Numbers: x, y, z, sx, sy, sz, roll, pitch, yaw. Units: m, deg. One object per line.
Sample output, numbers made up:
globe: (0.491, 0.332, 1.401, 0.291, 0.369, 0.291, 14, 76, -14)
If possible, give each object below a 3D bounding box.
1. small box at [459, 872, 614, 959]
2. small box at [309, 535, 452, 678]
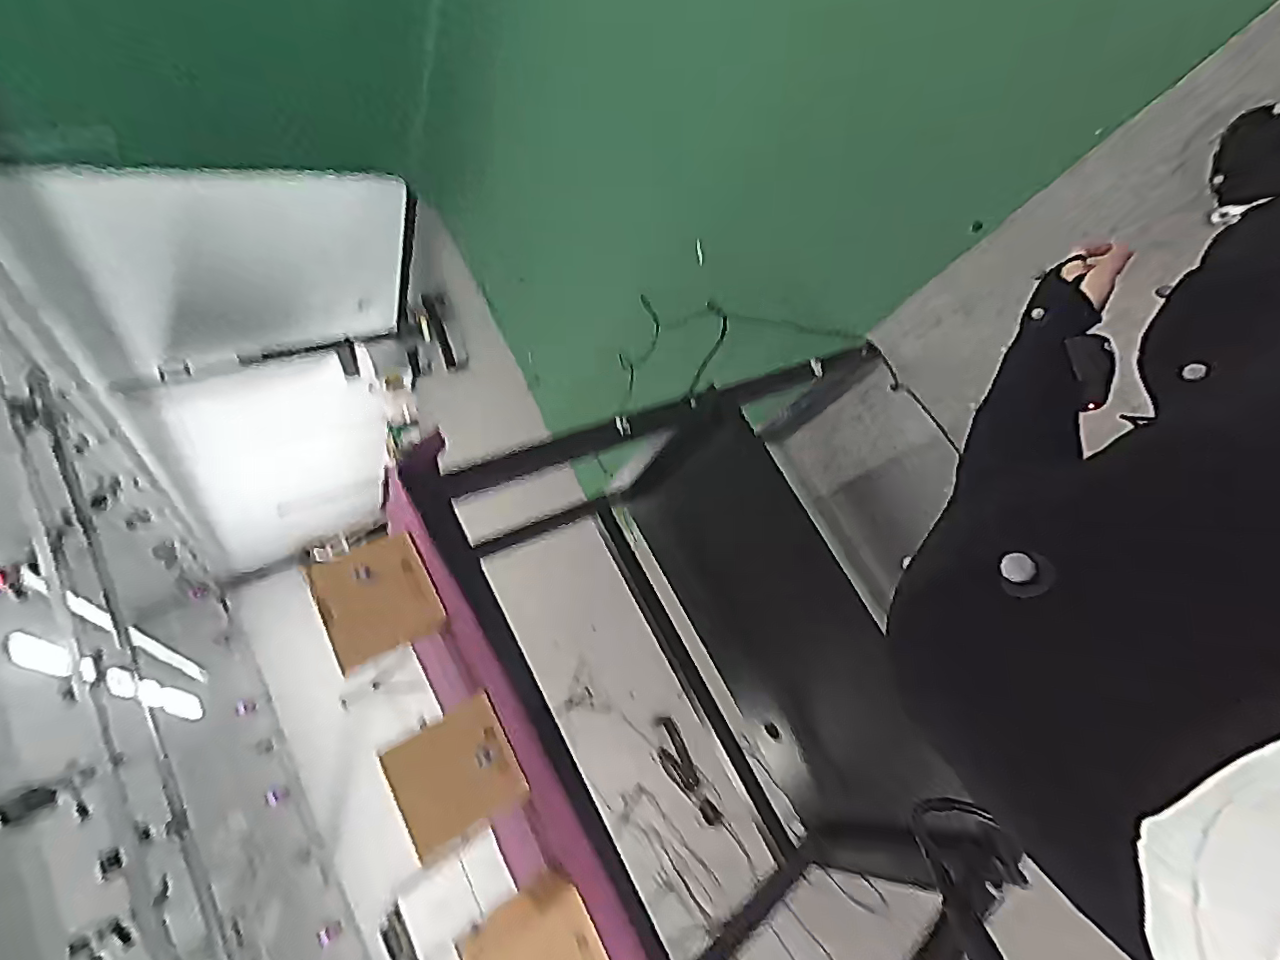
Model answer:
small box: (-0.138, 0.712, 0.781, 0.168, 0.176, 0.179, 60, 147, 11)
small box: (-0.439, 0.215, 0.927, 0.168, 0.176, 0.179, 61, 147, 11)
